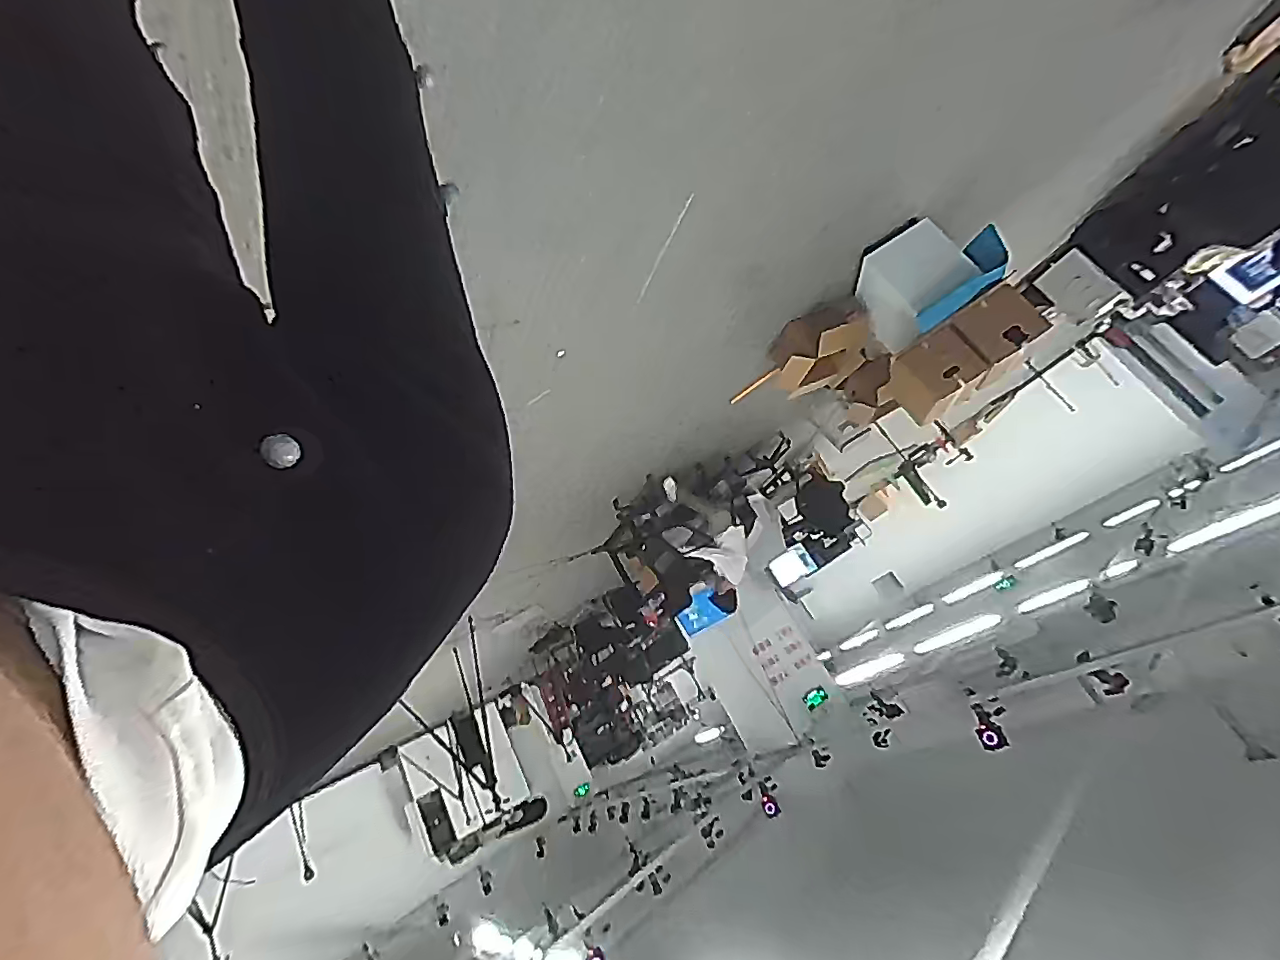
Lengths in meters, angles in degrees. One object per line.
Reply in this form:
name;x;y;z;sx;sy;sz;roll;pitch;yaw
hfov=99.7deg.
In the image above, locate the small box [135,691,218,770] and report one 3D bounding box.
small box;-1.510;0.812;1.764;0.168;0.176;0.179;-15;156;-35
